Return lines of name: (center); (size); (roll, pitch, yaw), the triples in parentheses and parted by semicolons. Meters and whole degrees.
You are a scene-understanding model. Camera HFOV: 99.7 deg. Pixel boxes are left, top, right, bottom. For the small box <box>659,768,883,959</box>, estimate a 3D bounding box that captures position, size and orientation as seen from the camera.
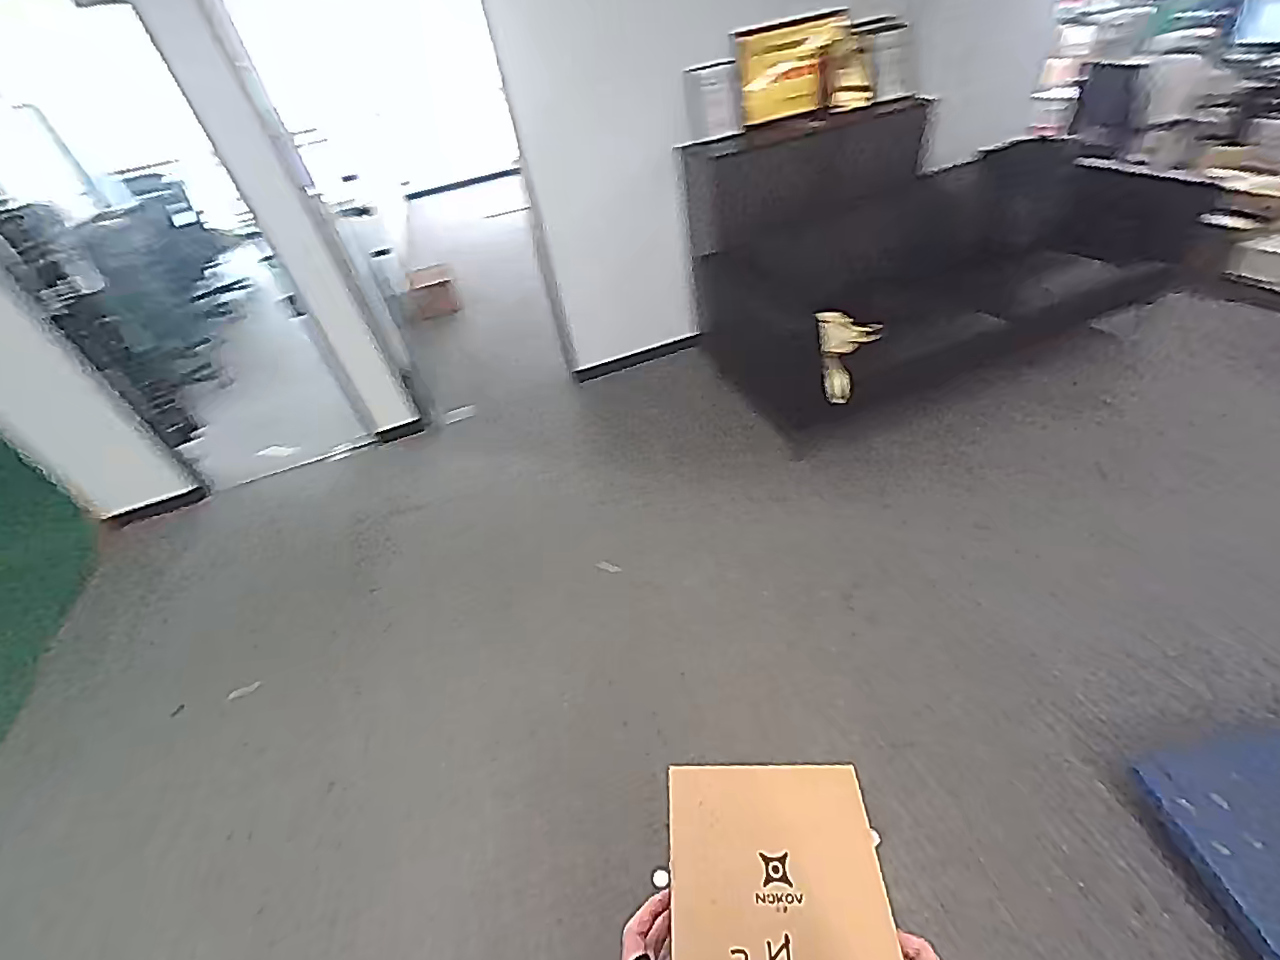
small box: (0.101, 0.381, 0.482); (0.168, 0.176, 0.179); (-3, 42, 3)
